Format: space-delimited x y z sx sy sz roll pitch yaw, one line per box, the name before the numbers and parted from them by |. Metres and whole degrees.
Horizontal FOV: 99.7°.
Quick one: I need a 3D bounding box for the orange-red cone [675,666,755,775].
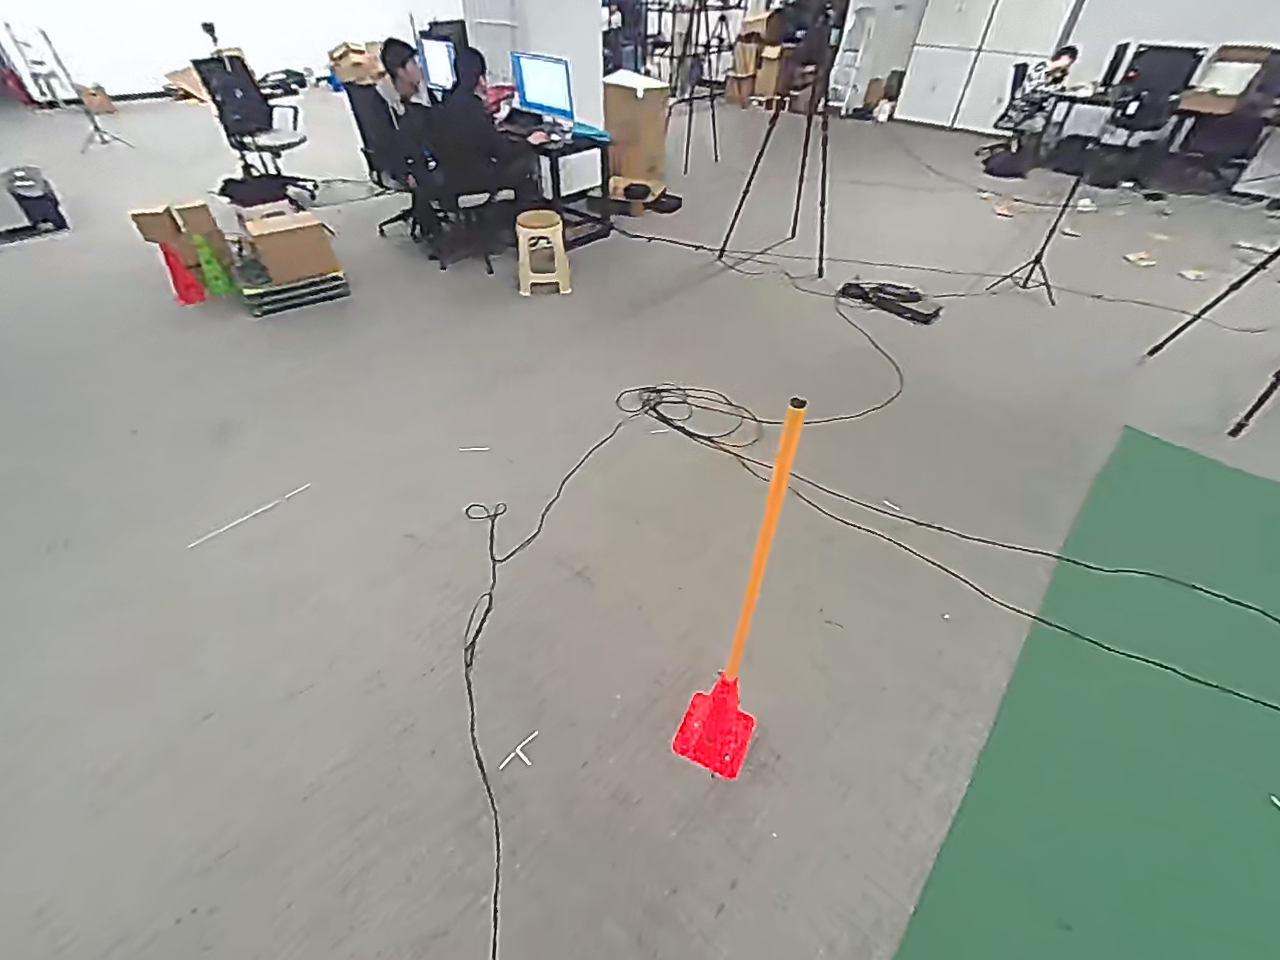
orange-red cone | 0.228 0.611 1.476 0.198 0.360 0.199 21 46 19
